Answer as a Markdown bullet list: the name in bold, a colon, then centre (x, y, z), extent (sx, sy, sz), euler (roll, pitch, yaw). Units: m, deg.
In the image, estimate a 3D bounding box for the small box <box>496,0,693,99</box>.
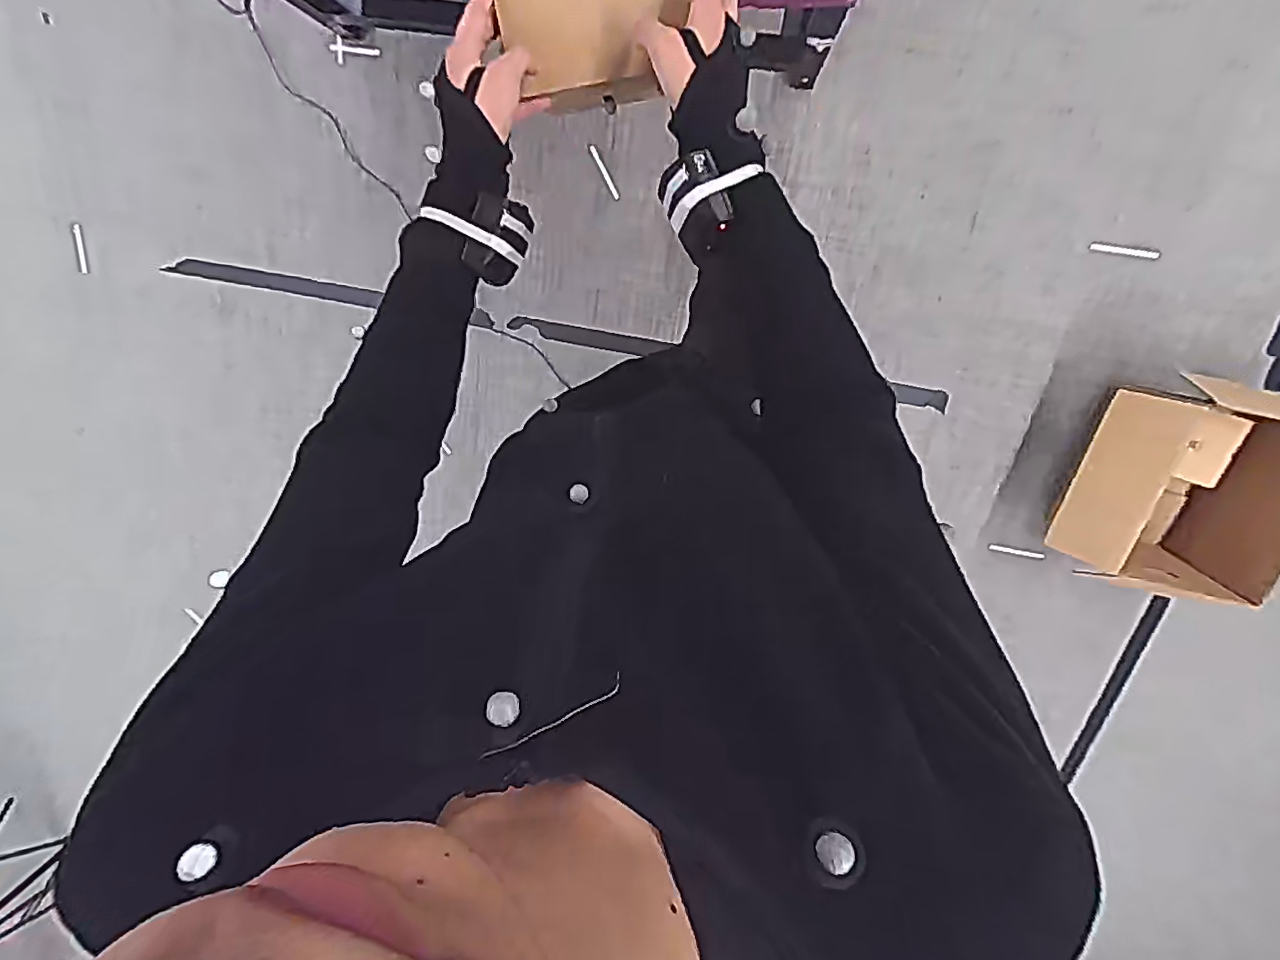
- **small box**: centre (-0.038, -0.472, 0.501), extent (0.168, 0.176, 0.179), euler (-5, 118, 7)
